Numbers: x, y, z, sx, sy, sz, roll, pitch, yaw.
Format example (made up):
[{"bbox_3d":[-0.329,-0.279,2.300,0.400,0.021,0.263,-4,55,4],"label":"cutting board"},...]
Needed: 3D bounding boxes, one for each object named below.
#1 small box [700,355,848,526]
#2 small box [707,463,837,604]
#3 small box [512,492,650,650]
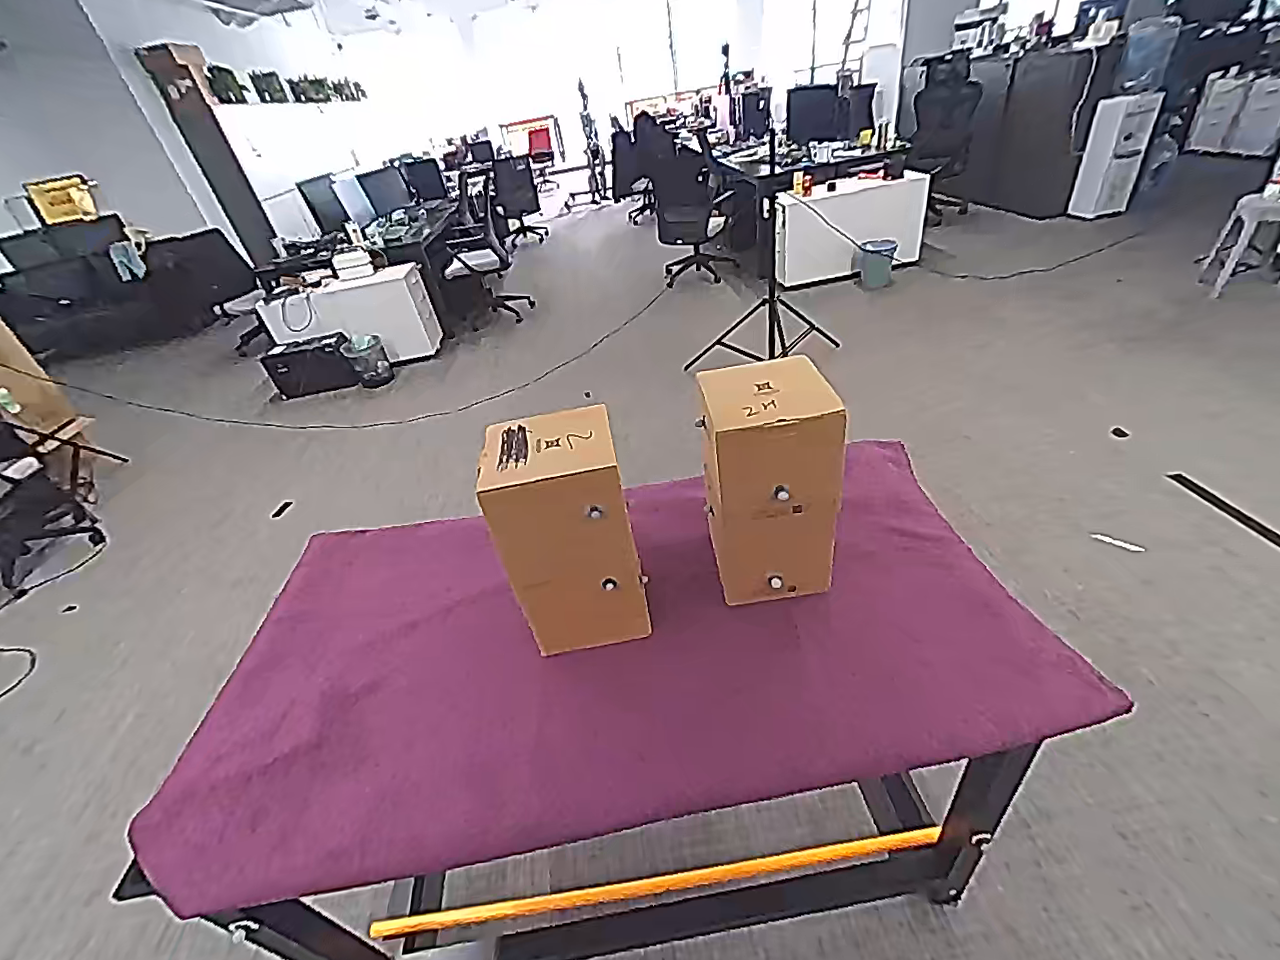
[{"bbox_3d":[0.183,-0.058,0.780,0.168,0.176,0.179,-10,36,3],"label":"small box"},{"bbox_3d":[0.205,0.074,0.877,0.168,0.176,0.179,-9,37,3],"label":"small box"},{"bbox_3d":[-0.089,0.146,0.857,0.179,0.176,0.168,-10,36,-1],"label":"small box"}]
